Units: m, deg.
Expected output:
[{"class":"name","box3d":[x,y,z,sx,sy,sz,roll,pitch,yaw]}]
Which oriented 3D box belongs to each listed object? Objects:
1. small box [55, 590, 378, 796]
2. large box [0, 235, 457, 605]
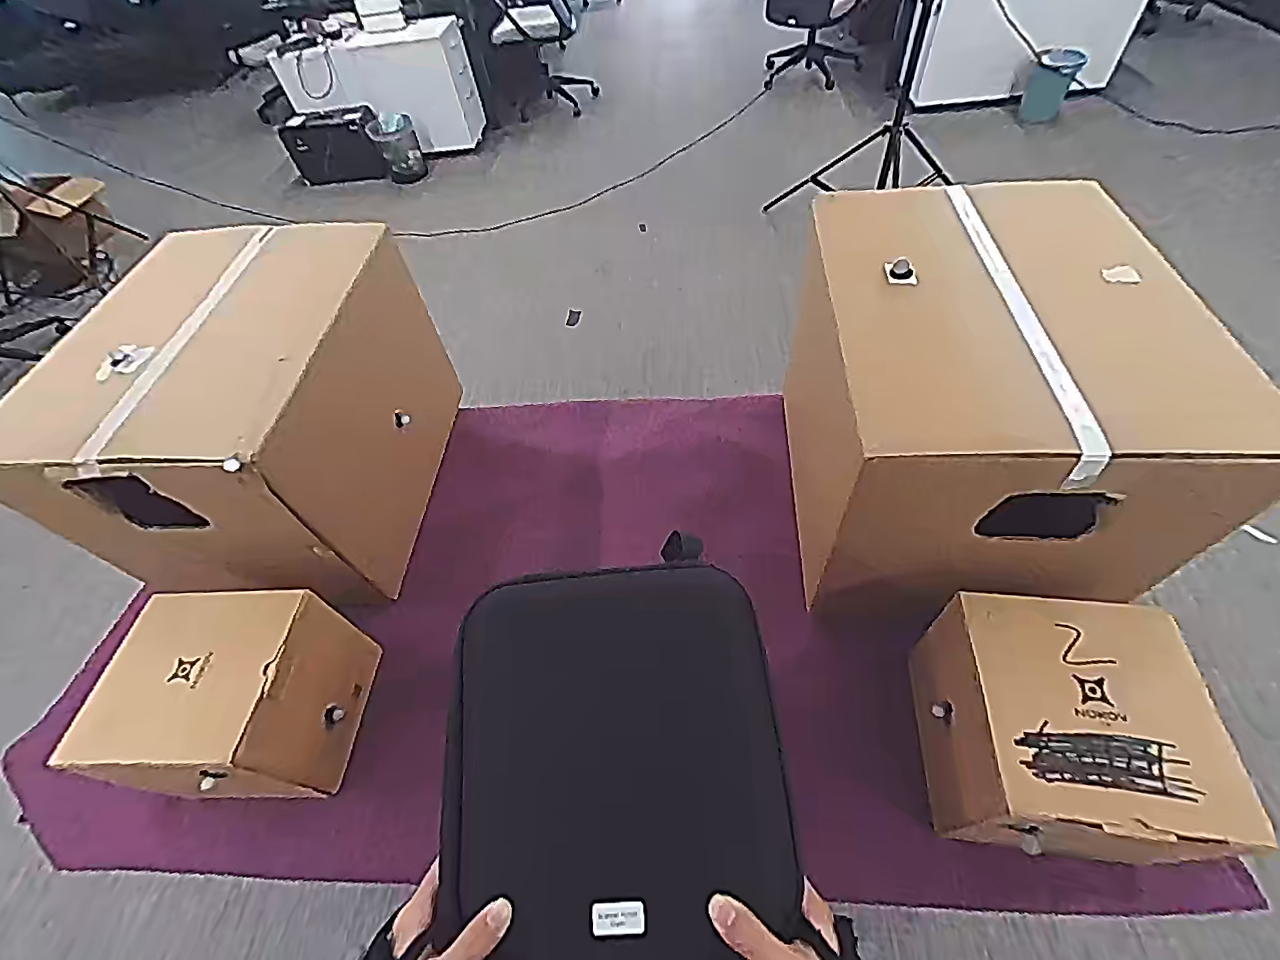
[{"class":"small box","box3d":[-0.423,0.233,0.581,0.179,0.176,0.168,-3,51,4]},{"class":"large box","box3d":[-0.478,-0.075,0.733,0.320,0.320,0.408,-2,55,4]}]
